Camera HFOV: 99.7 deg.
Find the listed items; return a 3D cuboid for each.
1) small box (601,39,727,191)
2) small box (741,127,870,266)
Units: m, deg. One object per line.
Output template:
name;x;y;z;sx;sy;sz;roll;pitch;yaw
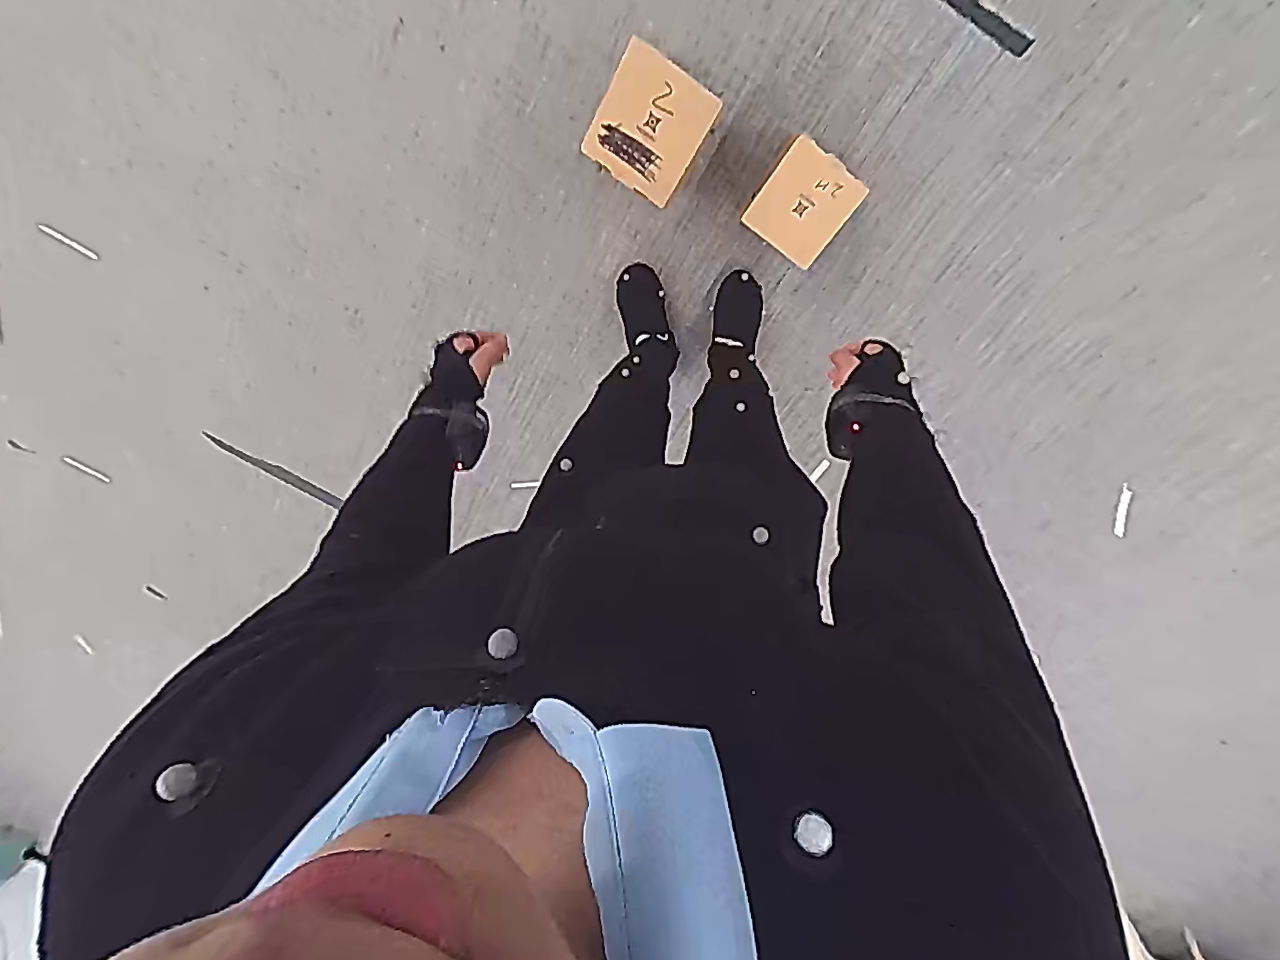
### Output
small box;0.049;-0.690;1.041;0.168;0.176;0.179;33;120;-10
small box;0.317;-0.559;1.070;0.168;0.176;0.179;33;120;-11
